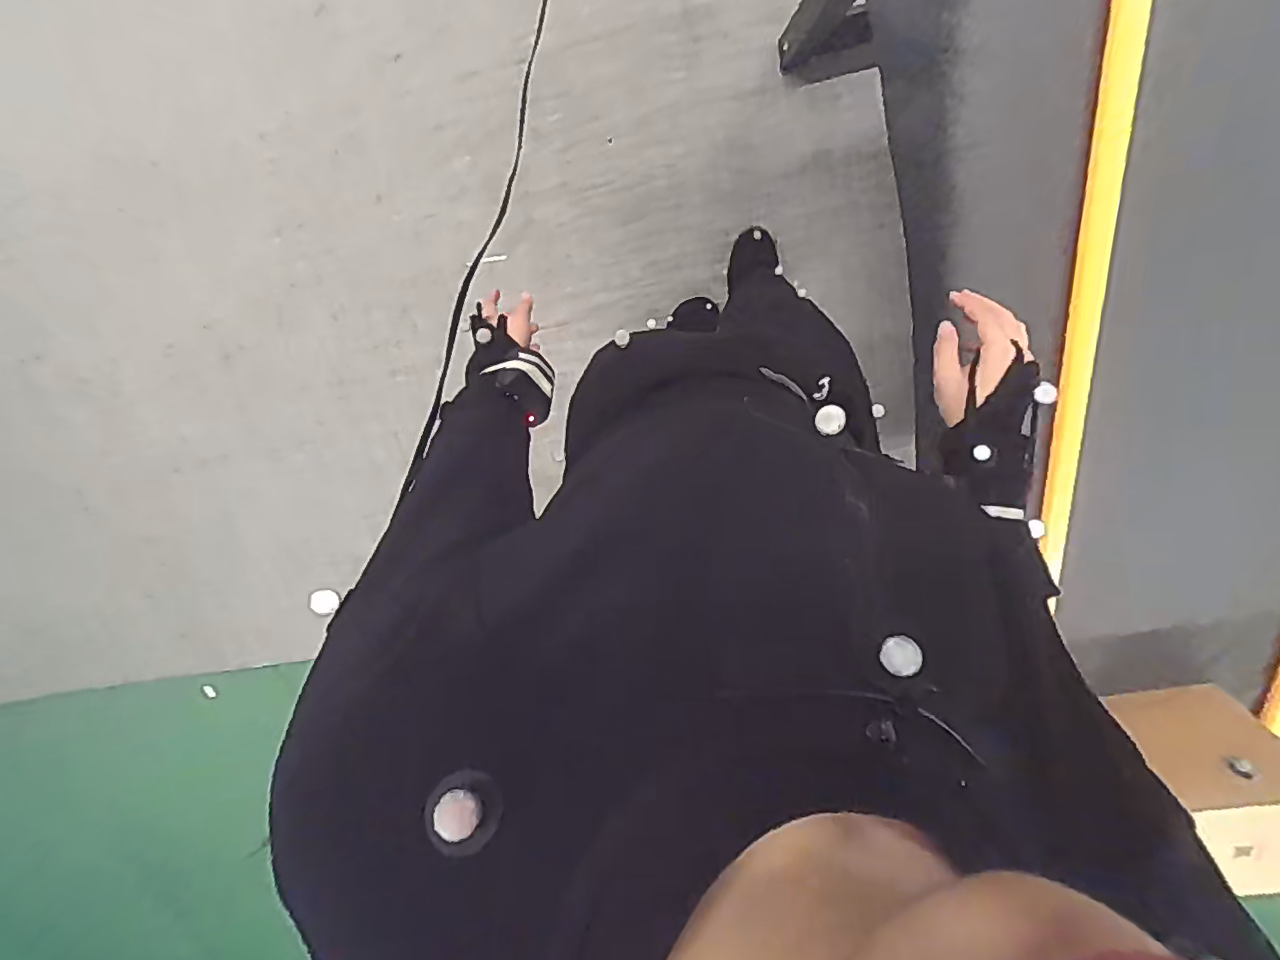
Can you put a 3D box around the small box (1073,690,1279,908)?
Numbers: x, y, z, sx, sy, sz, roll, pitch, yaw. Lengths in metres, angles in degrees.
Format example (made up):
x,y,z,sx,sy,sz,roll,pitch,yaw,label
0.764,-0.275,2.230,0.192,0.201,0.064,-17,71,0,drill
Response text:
x,y,z,sx,sy,sz,roll,pitch,yaw,label
0.698,0.393,0.683,0.179,0.176,0.168,-10,112,5,small box
